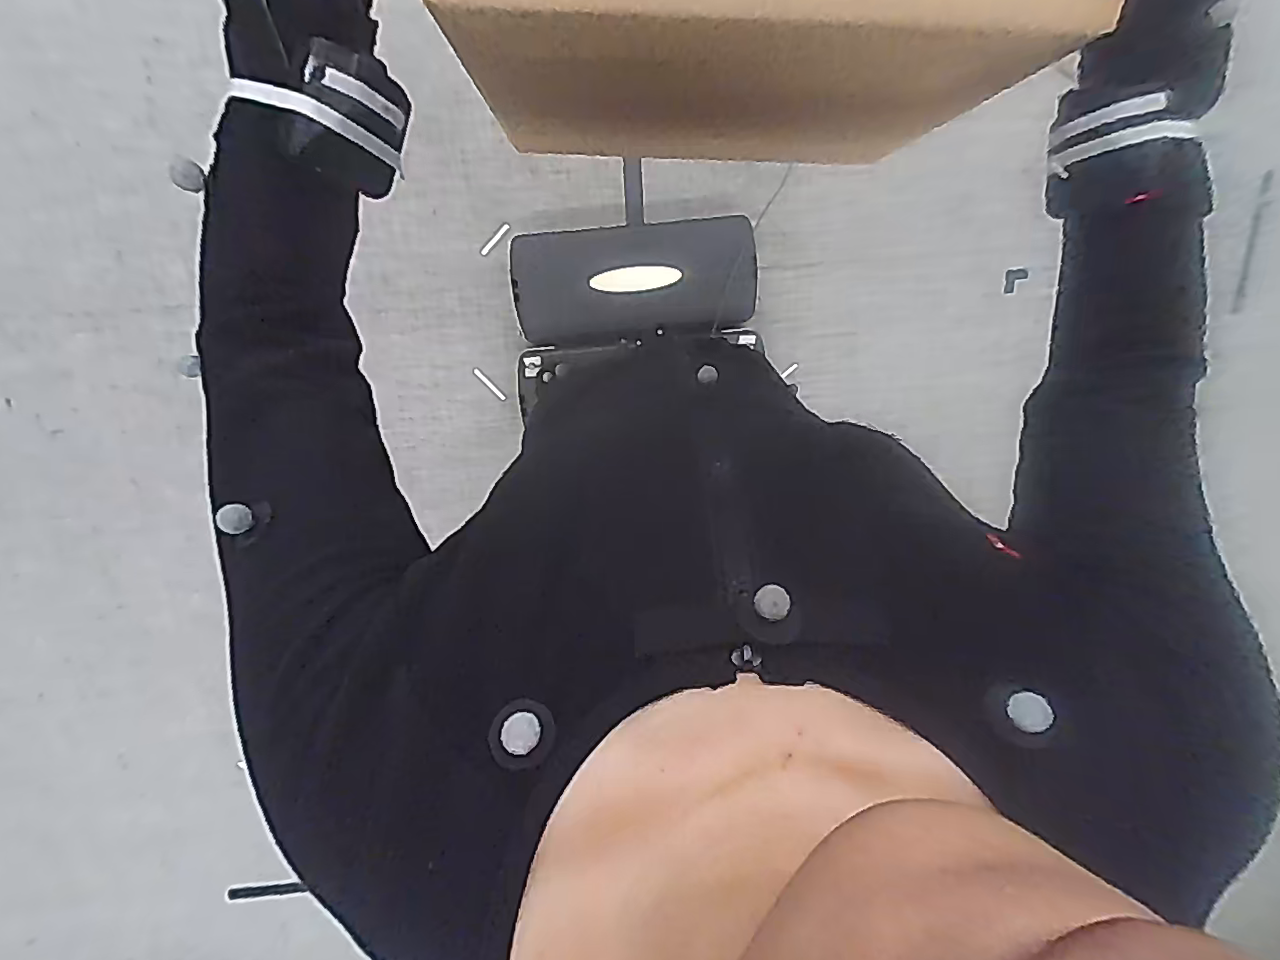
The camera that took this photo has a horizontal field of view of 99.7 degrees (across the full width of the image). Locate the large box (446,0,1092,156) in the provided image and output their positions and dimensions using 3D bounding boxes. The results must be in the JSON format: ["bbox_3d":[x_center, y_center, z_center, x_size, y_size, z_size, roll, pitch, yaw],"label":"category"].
[{"bbox_3d":[0.071,-0.467,0.422,0.408,0.320,0.320,-1,108,-4],"label":"large box"}]

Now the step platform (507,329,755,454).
[{"bbox_3d":[-0.024,-0.251,1.531,0.684,0.204,0.286,-6,105,-1],"label":"step platform"}]
